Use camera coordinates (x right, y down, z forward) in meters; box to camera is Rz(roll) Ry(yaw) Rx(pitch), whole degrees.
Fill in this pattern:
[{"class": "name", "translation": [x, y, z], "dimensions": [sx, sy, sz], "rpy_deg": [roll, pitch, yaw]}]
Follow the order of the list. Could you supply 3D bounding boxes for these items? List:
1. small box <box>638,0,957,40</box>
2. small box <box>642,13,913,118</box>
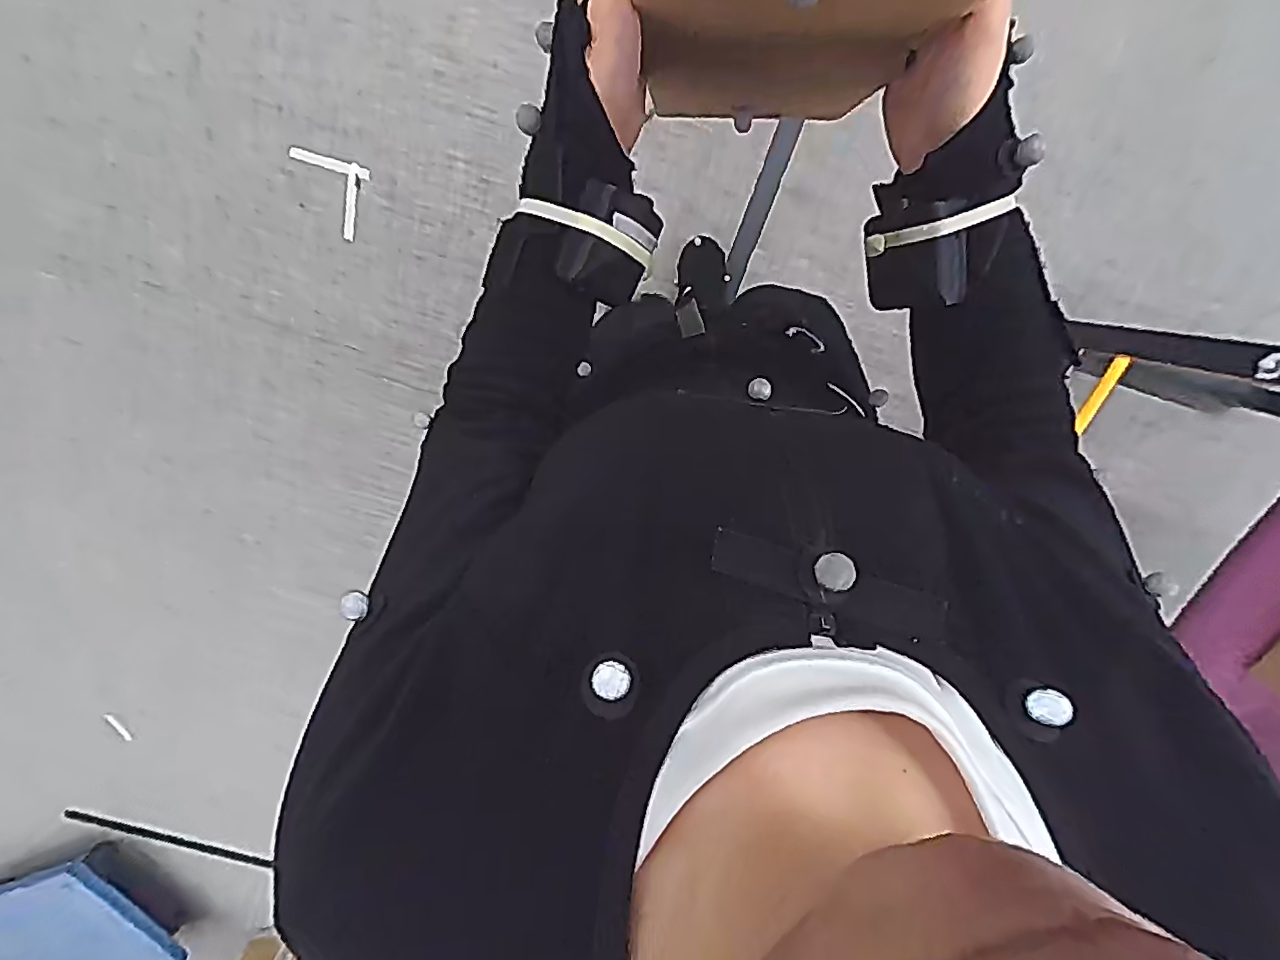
[{"class": "small box", "translation": [0.083, -0.308, 0.222], "dimensions": [0.179, 0.176, 0.168], "rpy_deg": [4, 116, 5]}, {"class": "small box", "translation": [0.092, -0.370, 0.372], "dimensions": [0.168, 0.176, 0.179], "rpy_deg": [4, 116, 4]}]
